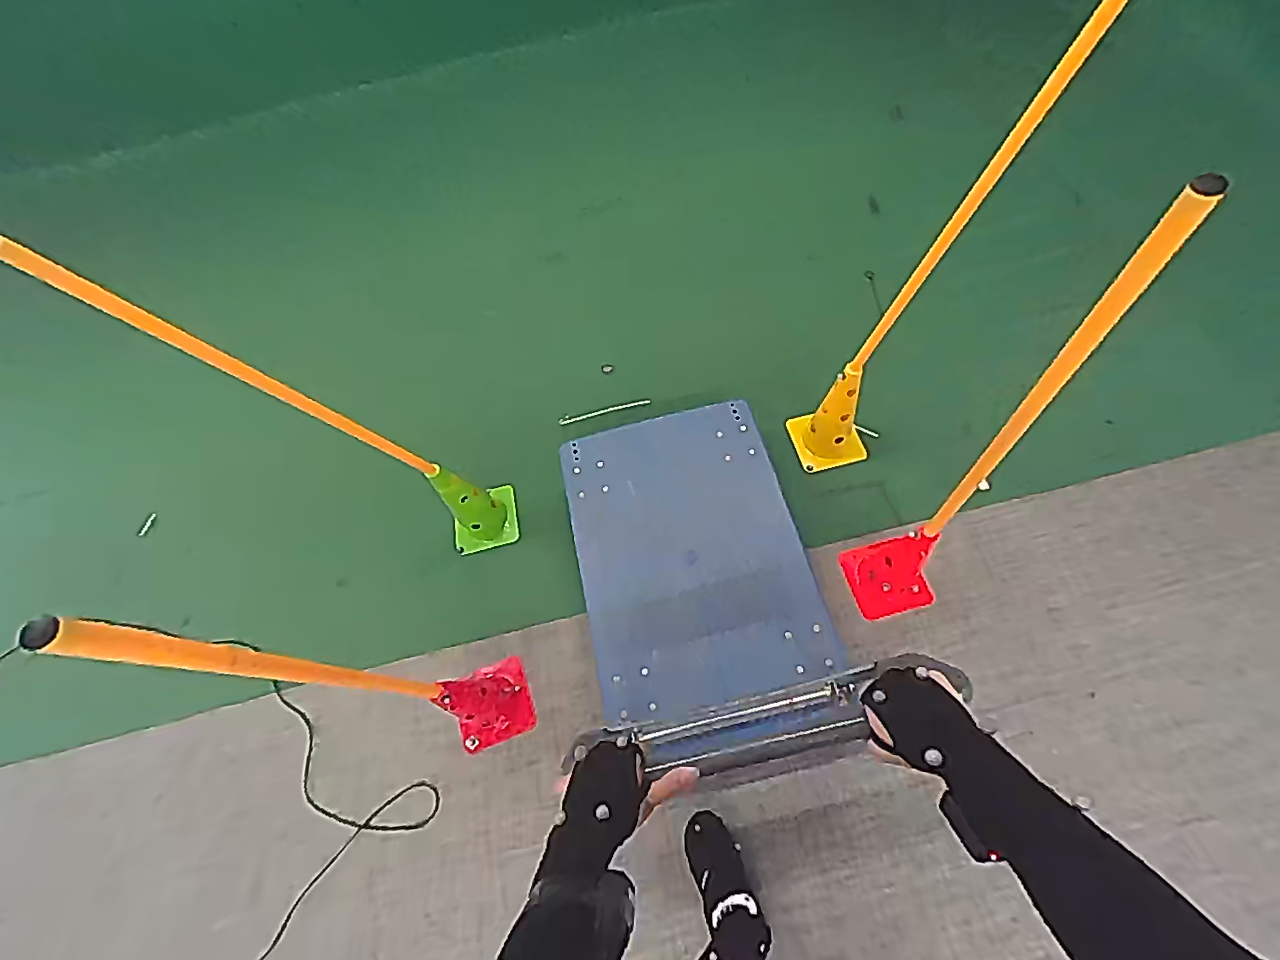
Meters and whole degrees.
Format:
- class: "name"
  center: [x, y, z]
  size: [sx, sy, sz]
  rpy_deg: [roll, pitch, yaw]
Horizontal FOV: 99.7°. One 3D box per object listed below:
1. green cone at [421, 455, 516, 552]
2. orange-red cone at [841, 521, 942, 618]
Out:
- class: "green cone"
  center: [-0.512, 0.038, 1.534]
  size: [0.200, 0.368, 0.202]
  rpy_deg: [-15, 62, 0]
- class: "orange-red cone"
  center: [0.648, 0.185, 1.316]
  size: [0.198, 0.360, 0.199]
  rpy_deg: [-14, 61, -1]
